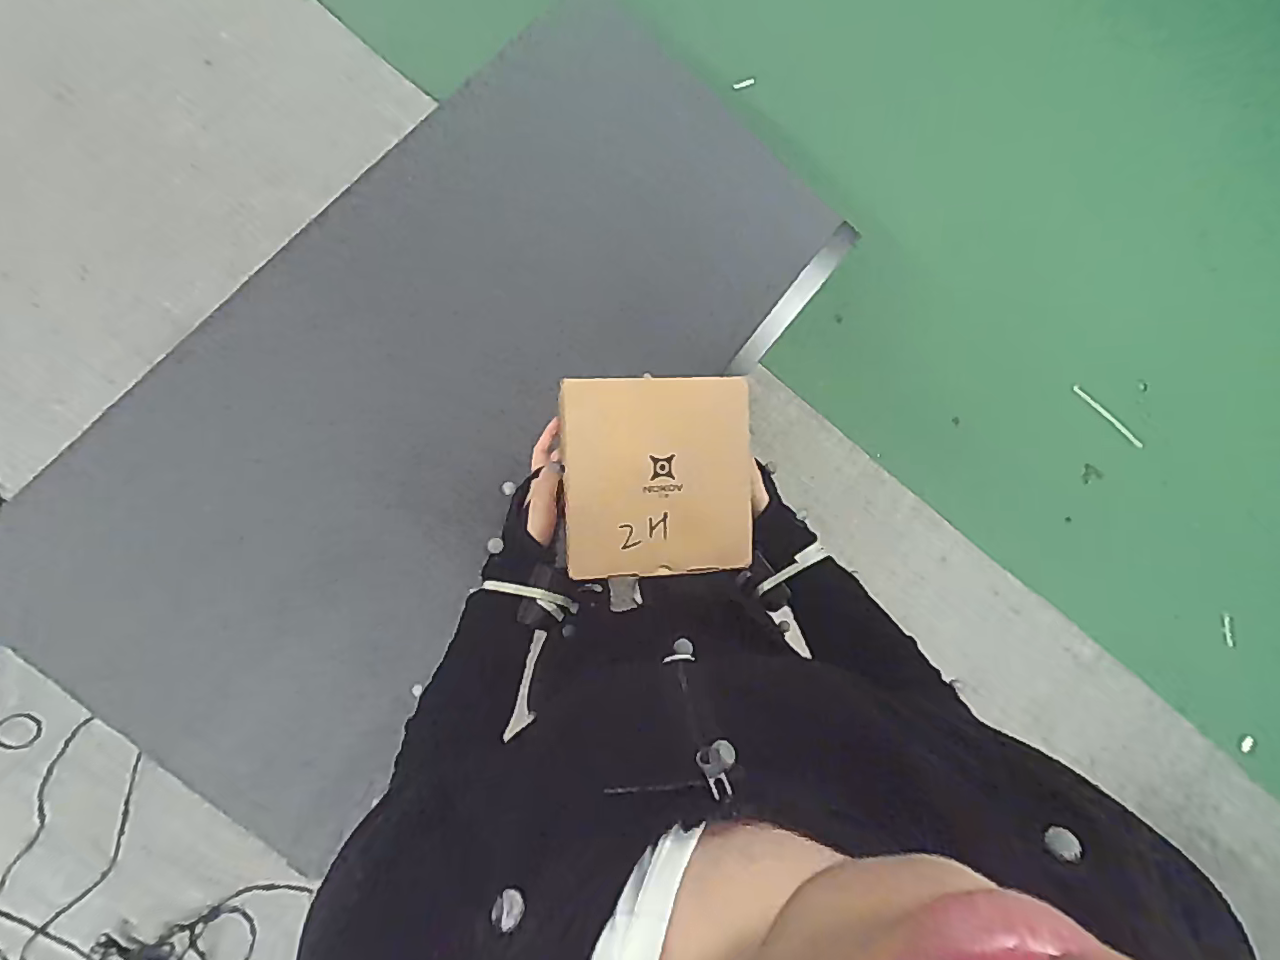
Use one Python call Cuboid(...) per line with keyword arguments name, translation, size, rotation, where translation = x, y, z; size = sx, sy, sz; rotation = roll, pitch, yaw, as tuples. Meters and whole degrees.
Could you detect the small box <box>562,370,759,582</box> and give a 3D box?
Cuboid(name="small box", translation=(0.009, -0.004, 0.534), size=(0.168, 0.176, 0.179), rotation=(-1, 92, -9))
